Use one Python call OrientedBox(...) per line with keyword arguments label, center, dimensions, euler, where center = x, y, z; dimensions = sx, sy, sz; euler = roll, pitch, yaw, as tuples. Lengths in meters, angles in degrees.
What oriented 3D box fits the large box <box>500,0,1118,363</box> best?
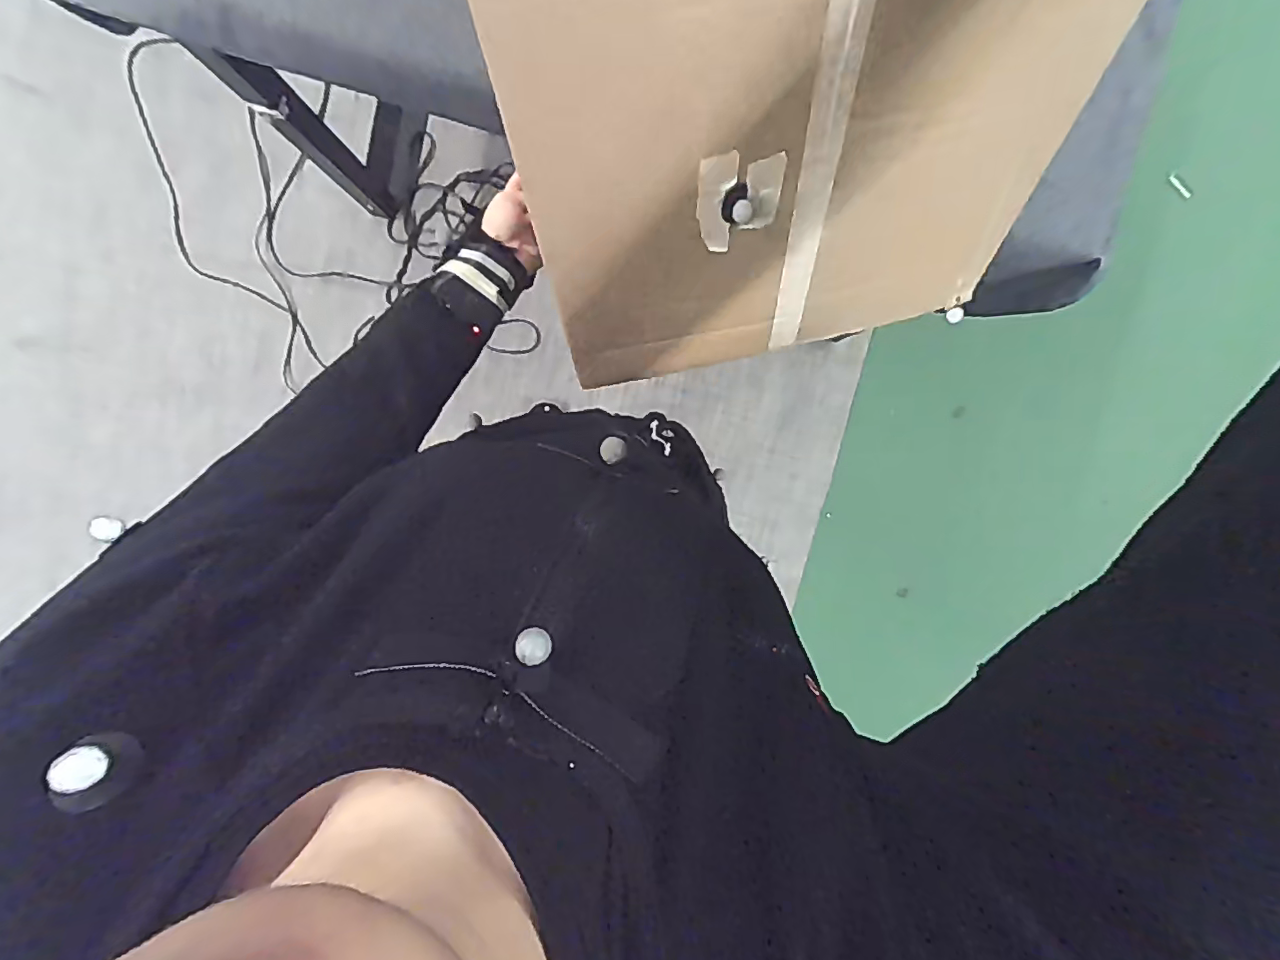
OrientedBox(label="large box", center=(0.063, -0.346, 0.324), dimensions=(0.320, 0.408, 0.320), euler=(-14, 63, -2))
